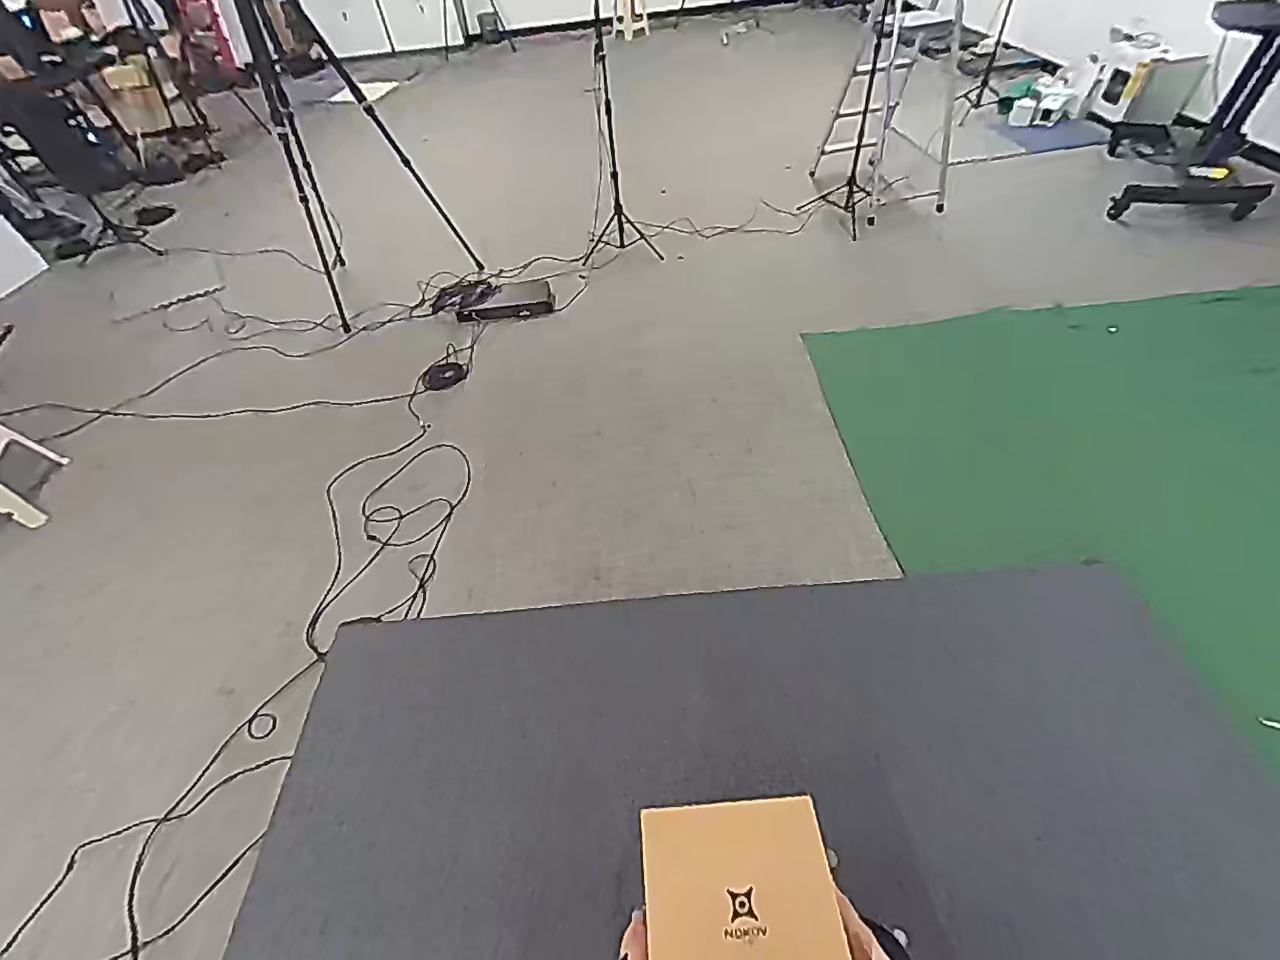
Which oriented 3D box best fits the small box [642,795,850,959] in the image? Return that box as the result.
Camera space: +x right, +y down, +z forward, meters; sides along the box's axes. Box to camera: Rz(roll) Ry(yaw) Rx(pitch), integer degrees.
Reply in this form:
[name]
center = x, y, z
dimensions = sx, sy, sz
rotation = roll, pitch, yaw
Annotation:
[small box]
center = 0.091, 0.423, 0.509
dimensions = 0.168, 0.176, 0.179
rotation = -6, 46, 2
